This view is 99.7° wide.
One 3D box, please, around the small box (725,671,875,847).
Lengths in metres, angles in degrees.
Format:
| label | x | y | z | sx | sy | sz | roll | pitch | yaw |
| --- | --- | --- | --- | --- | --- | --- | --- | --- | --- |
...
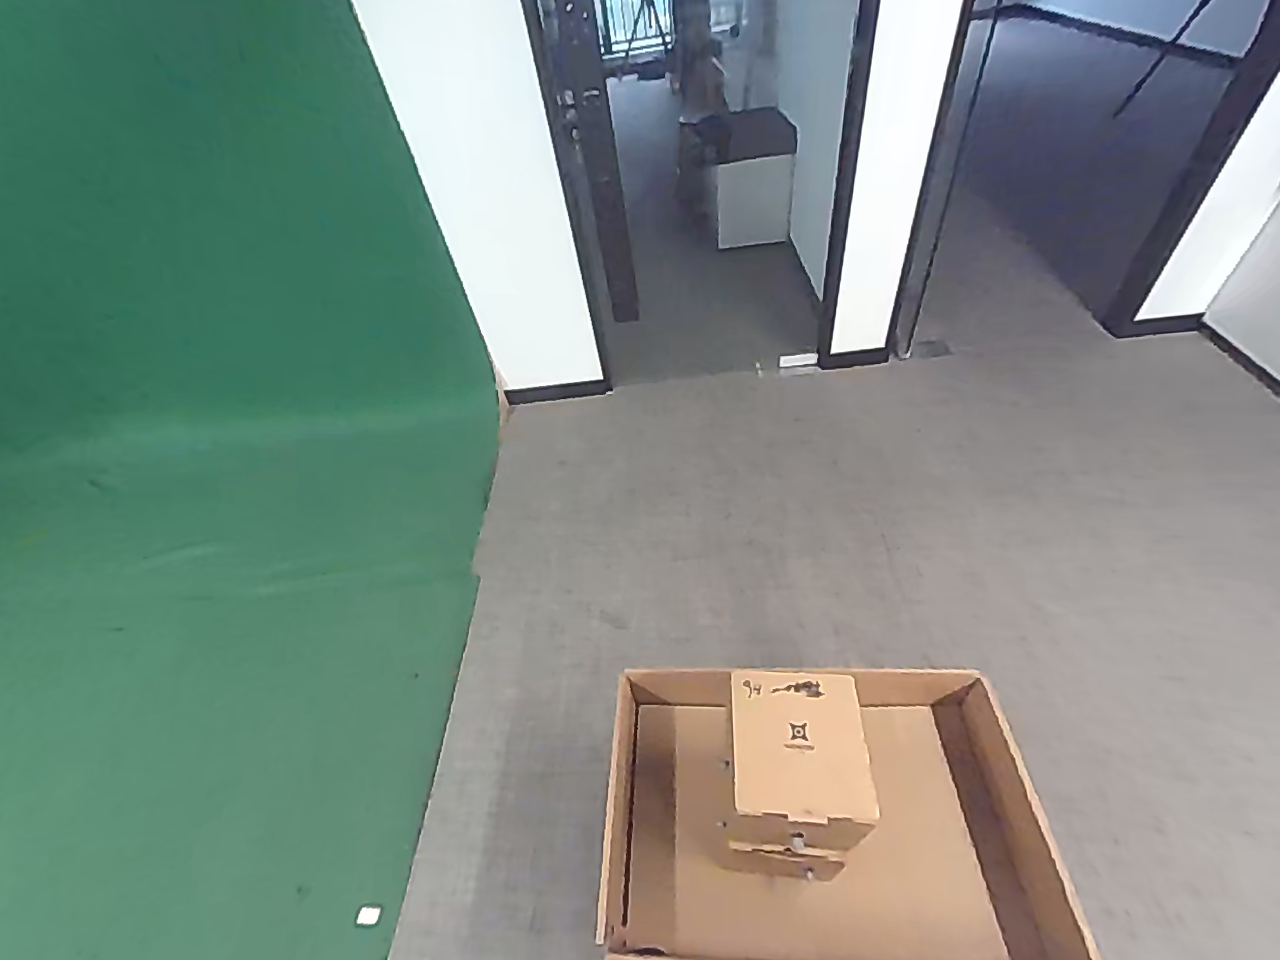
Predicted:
| label | x | y | z | sx | sy | sz | roll | pitch | yaw |
| --- | --- | --- | --- | --- | --- | --- | --- | --- | --- |
| small box | 0.204 | 0.383 | 0.738 | 0.168 | 0.176 | 0.179 | 1 | 47 | 6 |

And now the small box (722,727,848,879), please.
| label | x | y | z | sx | sy | sz | roll | pitch | yaw |
| --- | --- | --- | --- | --- | --- | --- | --- | --- | --- |
| small box | 0.216 | 0.503 | 0.849 | 0.168 | 0.176 | 0.179 | 1 | 45 | 7 |
